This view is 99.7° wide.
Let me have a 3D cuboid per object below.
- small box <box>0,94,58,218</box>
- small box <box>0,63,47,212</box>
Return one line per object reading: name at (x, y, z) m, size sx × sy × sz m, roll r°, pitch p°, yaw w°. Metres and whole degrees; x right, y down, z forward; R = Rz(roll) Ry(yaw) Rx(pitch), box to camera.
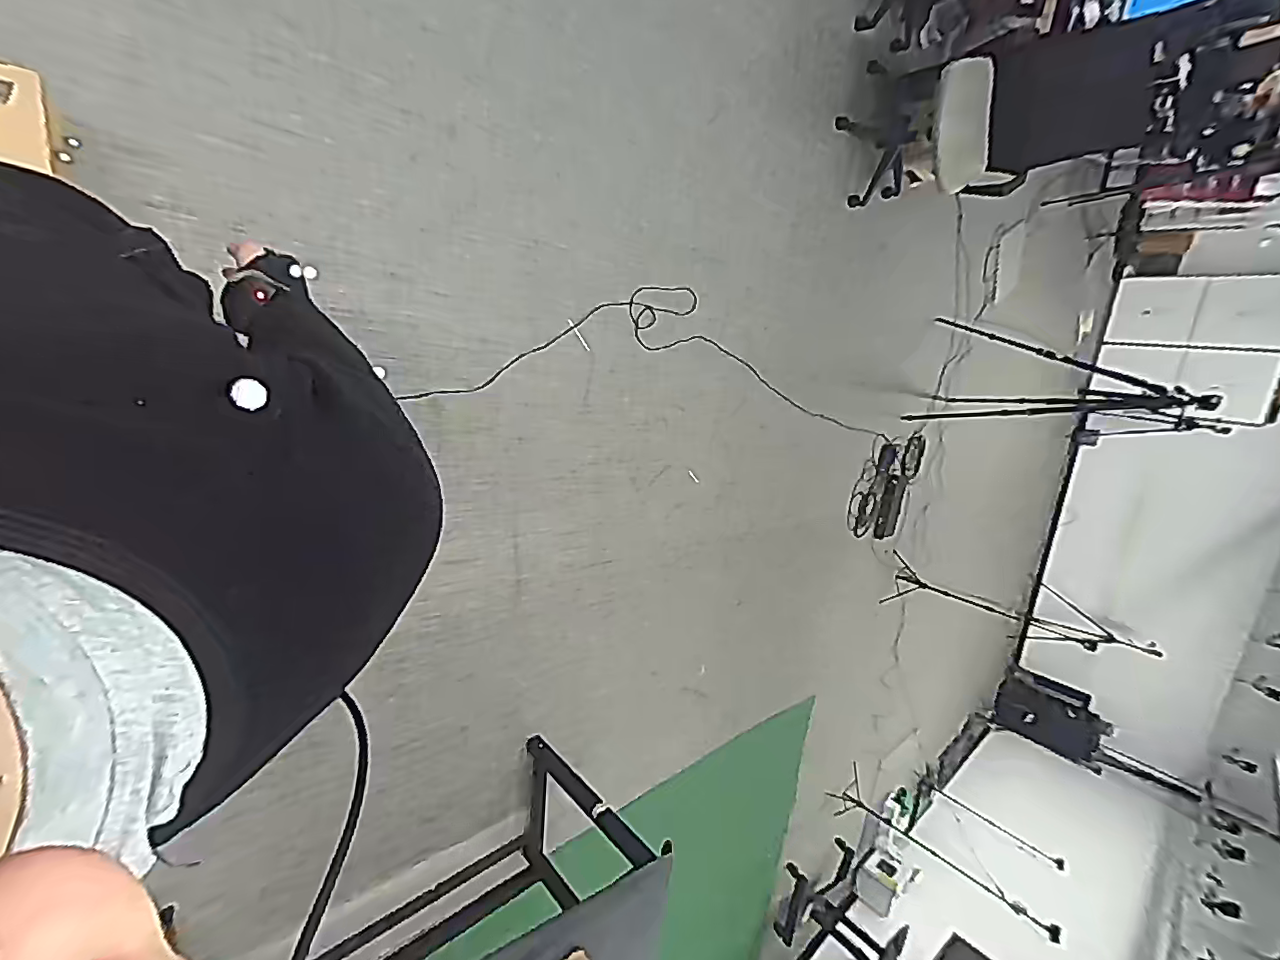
small box at (-1.105, -0.554, 0.900) m, size 0.168 × 0.176 × 0.179 m, roll -6°, pitch 109°, yaw -42°
small box at (-0.999, -0.508, 0.784) m, size 0.168 × 0.176 × 0.179 m, roll -7°, pitch 109°, yaw -42°
